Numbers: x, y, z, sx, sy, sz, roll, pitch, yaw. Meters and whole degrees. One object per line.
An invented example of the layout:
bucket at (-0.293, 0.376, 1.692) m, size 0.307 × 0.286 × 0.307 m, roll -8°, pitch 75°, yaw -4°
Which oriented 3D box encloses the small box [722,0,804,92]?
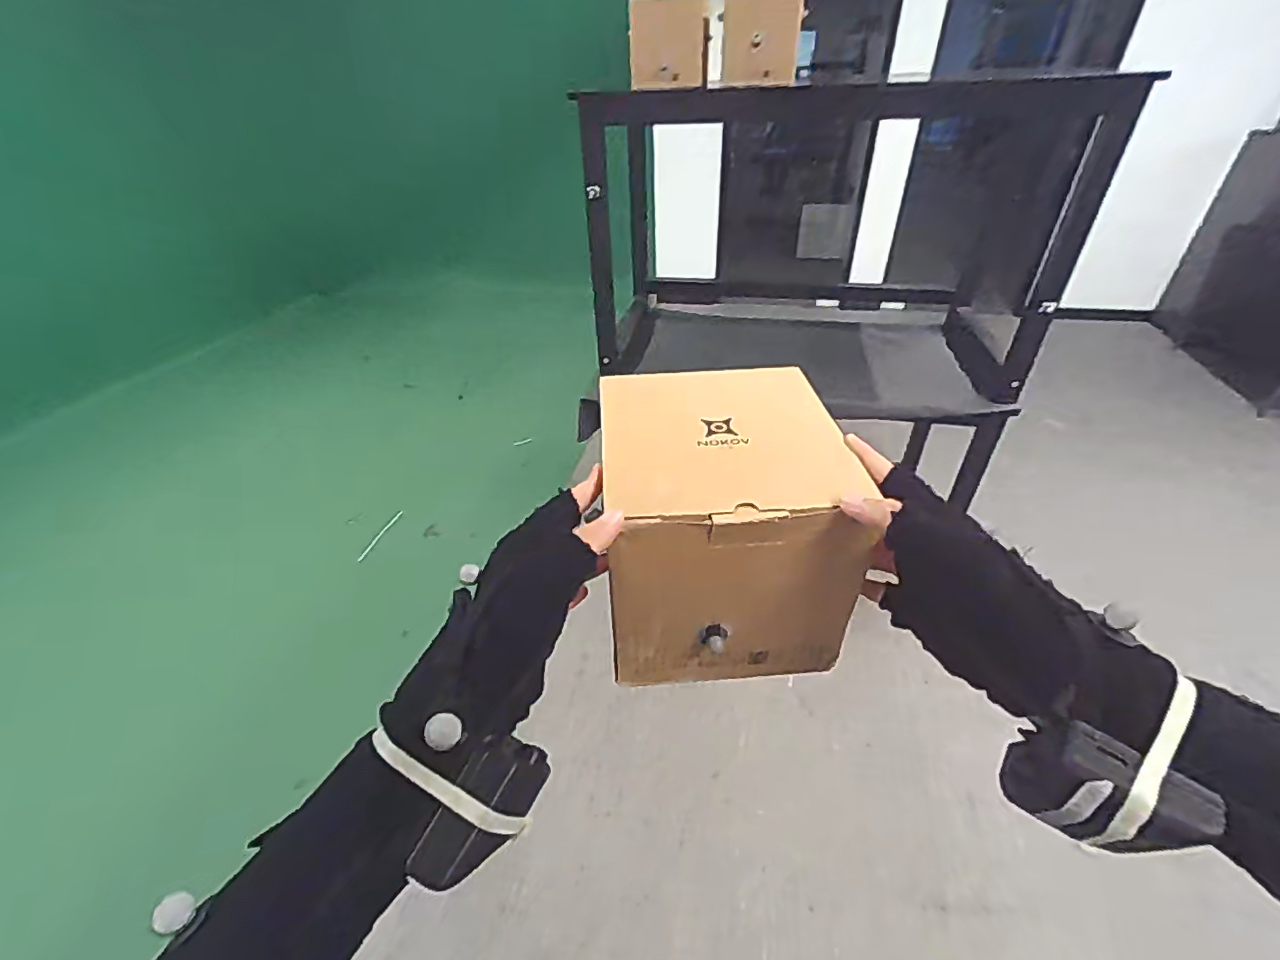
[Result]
small box at (0.283, -1.001, 1.243) m, size 0.168 × 0.176 × 0.179 m, roll 7°, pitch 38°, yaw 11°

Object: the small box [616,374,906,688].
small box at (0.066, 0.034, 0.419) m, size 0.168 × 0.176 × 0.179 m, roll -3°, pitch 38°, yaw -3°
